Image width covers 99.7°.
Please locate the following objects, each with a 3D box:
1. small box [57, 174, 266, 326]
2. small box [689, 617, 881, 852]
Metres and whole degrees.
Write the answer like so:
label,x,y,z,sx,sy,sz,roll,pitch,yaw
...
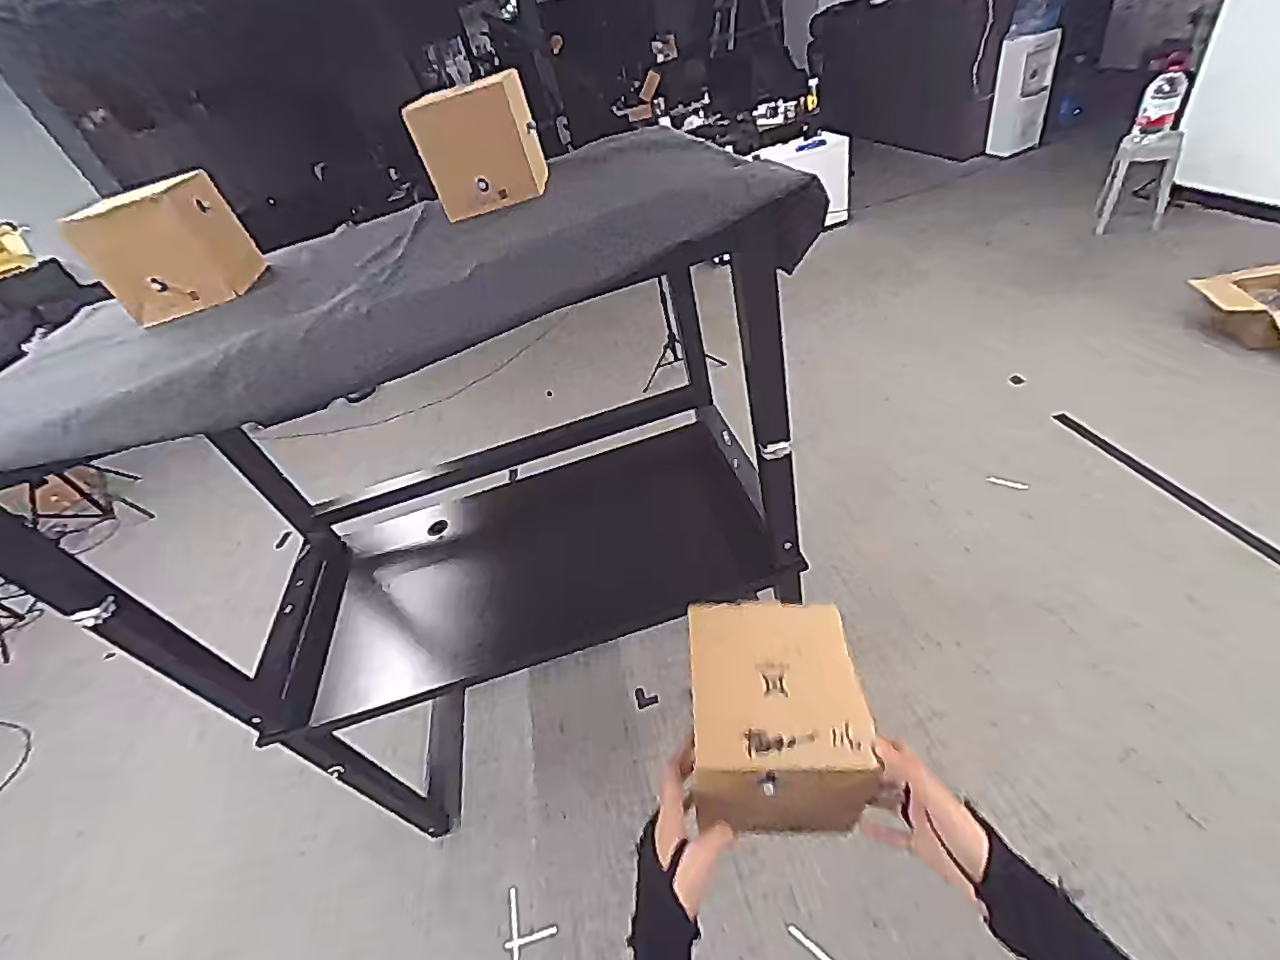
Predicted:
label,x,y,z,sx,sy,sz,roll,pitch,yaw
small box,-0.770,-0.381,0.899,0.168,0.176,0.179,-20,41,-2
small box,0.137,0.271,0.587,0.168,0.176,0.179,-2,38,5
